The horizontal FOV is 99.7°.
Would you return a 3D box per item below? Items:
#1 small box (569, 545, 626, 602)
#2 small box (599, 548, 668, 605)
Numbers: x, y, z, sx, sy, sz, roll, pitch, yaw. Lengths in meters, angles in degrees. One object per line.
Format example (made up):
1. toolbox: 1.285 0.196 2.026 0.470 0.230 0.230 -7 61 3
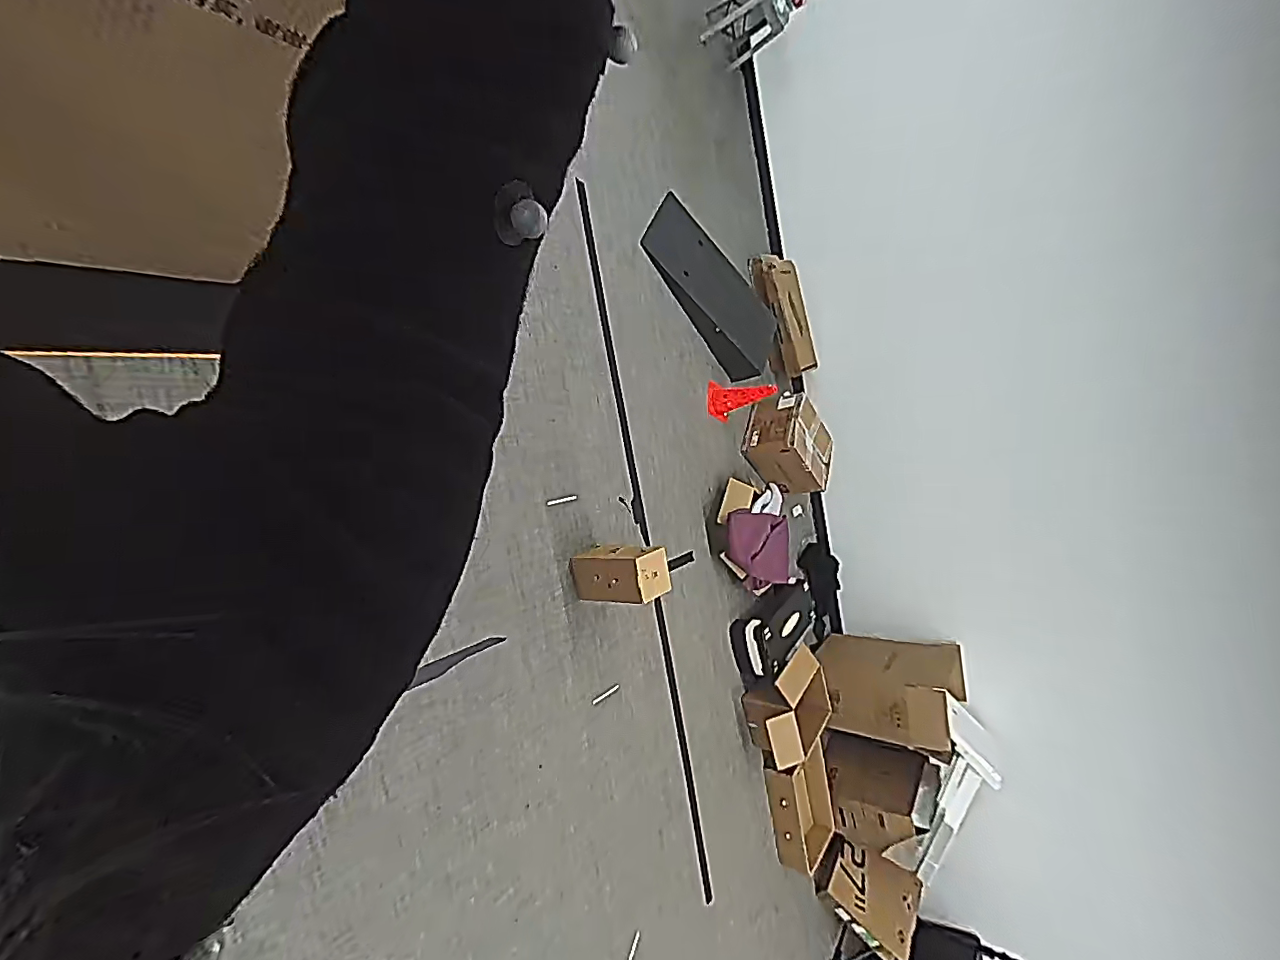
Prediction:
1. small box: -0.152 0.359 2.091 0.168 0.176 0.179 -19 100 -50
2. small box: -0.024 0.348 1.988 0.179 0.176 0.168 -14 95 -50
